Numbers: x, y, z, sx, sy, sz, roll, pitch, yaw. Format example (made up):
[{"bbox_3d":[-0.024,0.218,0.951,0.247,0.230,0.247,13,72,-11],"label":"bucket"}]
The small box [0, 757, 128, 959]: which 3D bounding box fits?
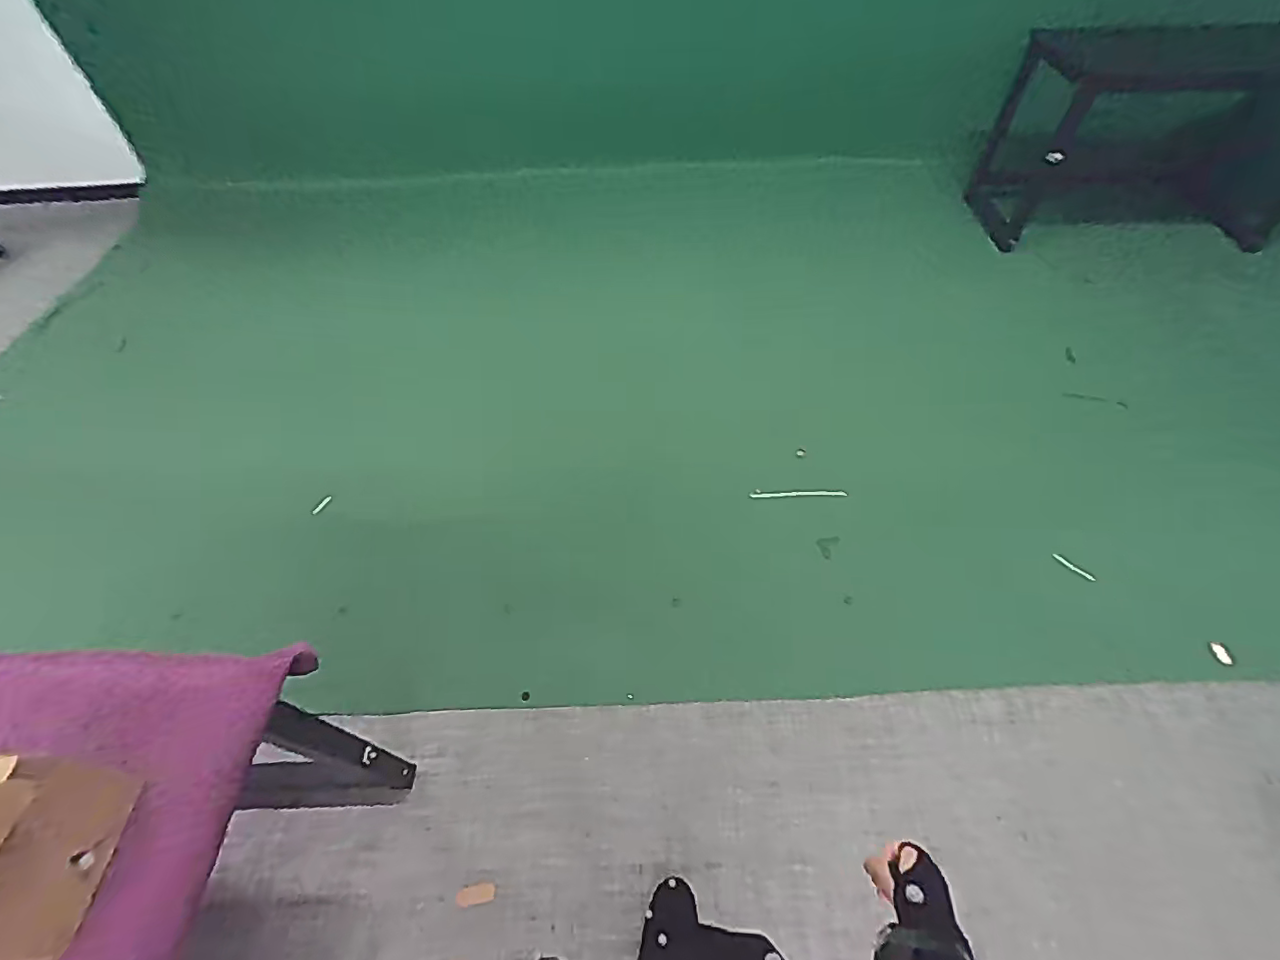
[{"bbox_3d":[-0.706,0.405,0.563,0.168,0.176,0.179,-3,52,2],"label":"small box"}]
